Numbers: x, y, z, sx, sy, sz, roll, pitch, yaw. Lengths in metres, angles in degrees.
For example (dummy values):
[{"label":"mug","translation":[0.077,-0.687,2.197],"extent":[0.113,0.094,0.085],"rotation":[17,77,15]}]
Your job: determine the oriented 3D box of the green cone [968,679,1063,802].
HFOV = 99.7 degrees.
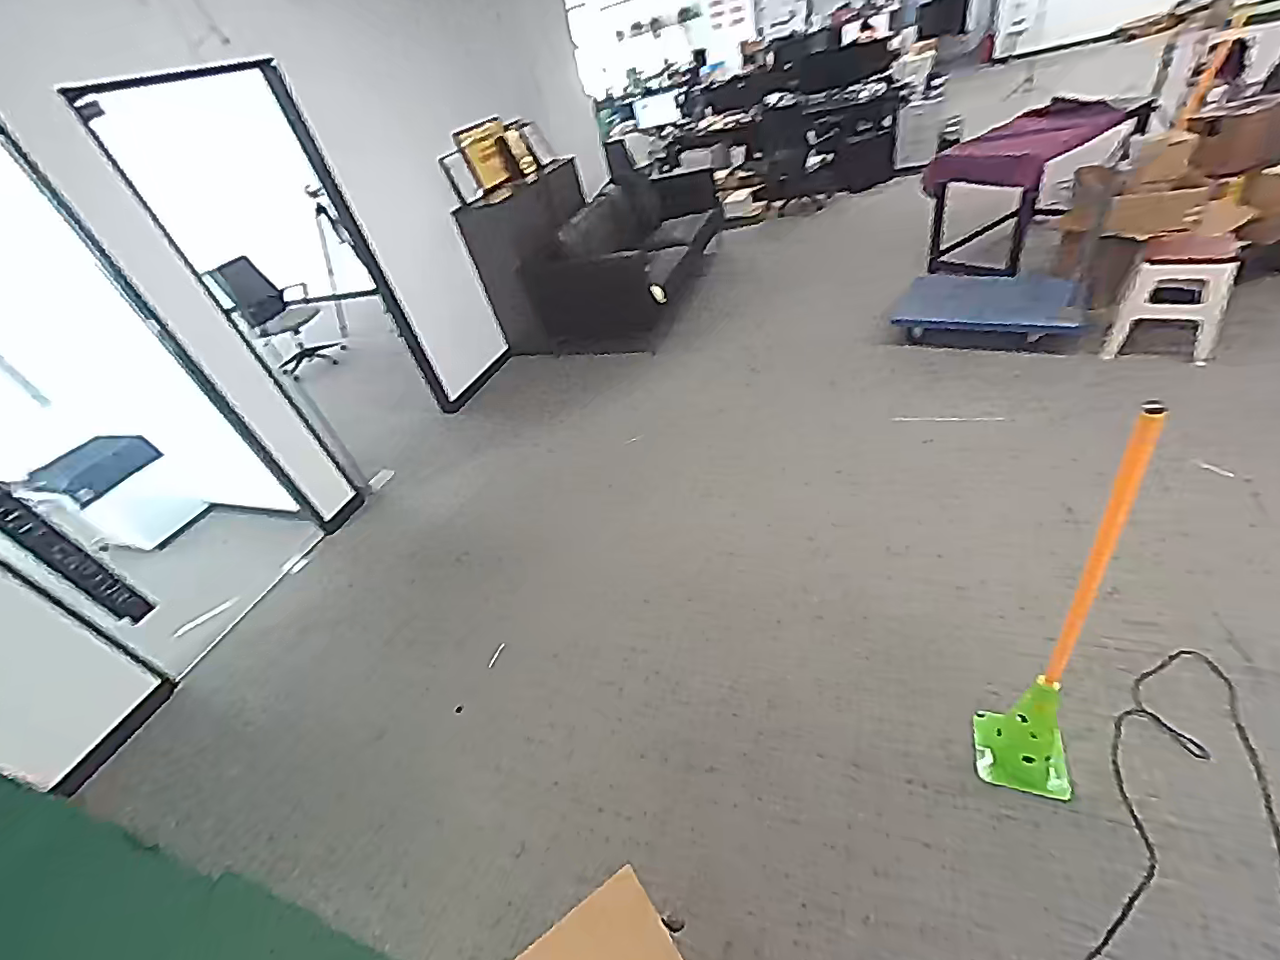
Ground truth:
[{"label":"green cone","translation":[0.970,0.610,1.349],"extent":[0.202,0.368,0.200],"rotation":[5,43,23]}]
